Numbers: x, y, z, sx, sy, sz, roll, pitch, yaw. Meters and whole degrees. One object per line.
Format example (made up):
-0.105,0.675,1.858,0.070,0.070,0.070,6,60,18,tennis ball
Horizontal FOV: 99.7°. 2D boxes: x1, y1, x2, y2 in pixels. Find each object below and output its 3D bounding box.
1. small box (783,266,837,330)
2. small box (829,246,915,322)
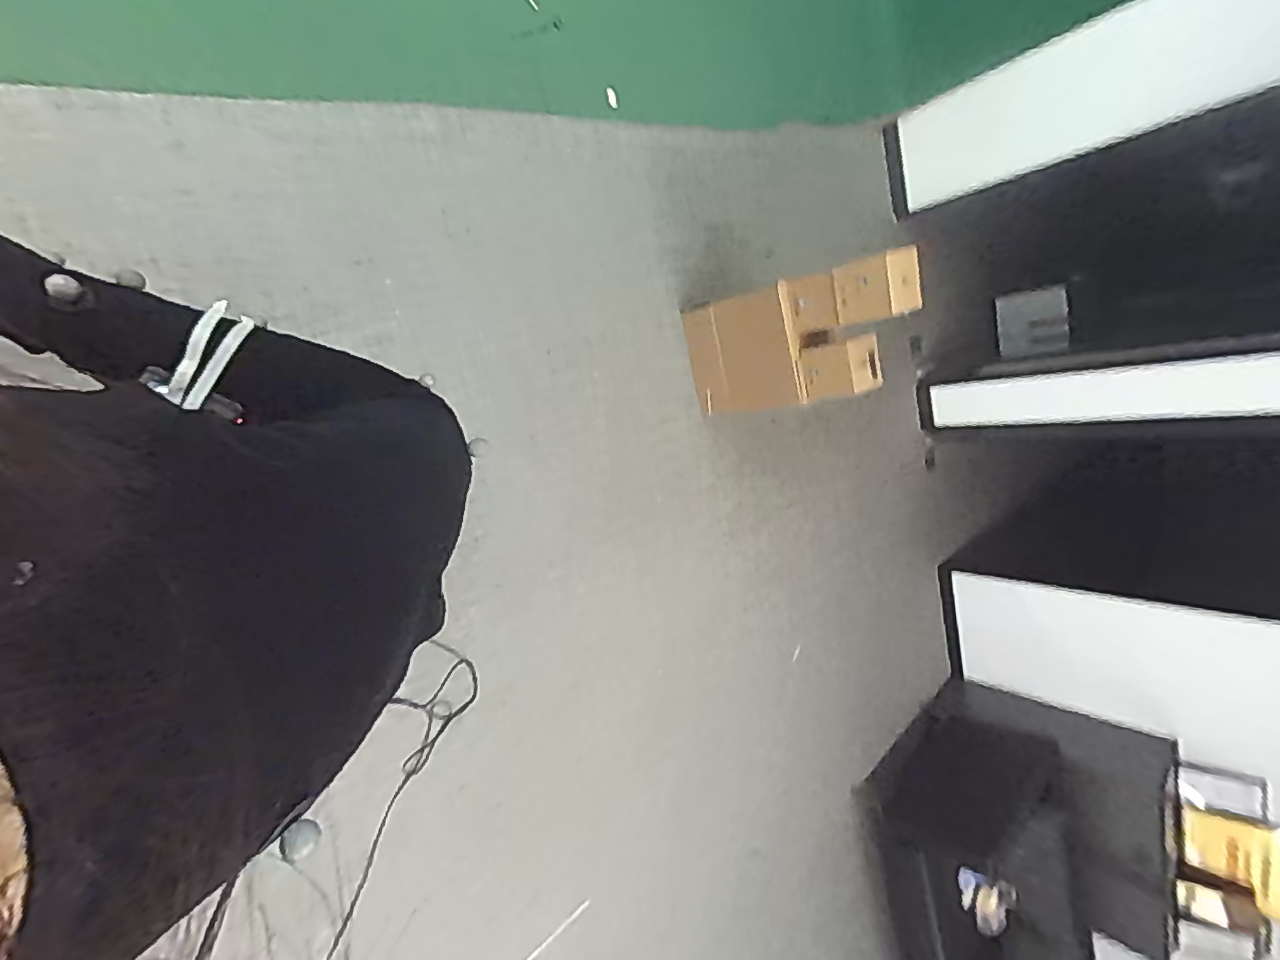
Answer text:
0.575,-0.578,1.702,0.179,0.176,0.168,-23,108,-33,small box
0.666,-0.564,1.568,0.179,0.176,0.168,-24,109,-34,small box
